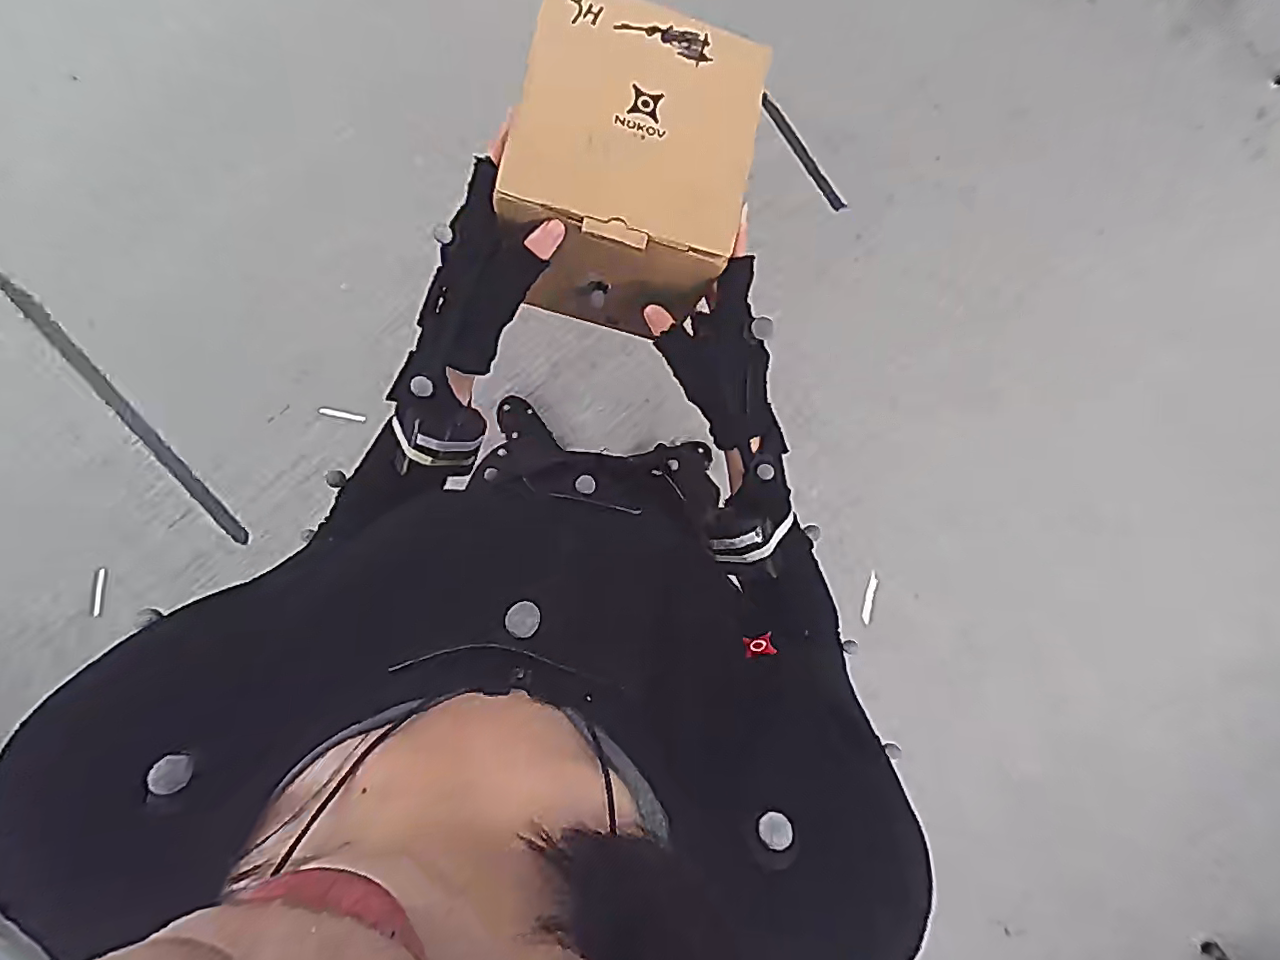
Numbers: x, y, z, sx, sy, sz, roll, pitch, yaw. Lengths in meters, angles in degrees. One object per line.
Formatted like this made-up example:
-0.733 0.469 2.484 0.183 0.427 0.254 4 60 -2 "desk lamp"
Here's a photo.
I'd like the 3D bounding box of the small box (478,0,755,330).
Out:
-0.025 -0.247 0.449 0.168 0.176 0.179 12 83 -11 "small box"
